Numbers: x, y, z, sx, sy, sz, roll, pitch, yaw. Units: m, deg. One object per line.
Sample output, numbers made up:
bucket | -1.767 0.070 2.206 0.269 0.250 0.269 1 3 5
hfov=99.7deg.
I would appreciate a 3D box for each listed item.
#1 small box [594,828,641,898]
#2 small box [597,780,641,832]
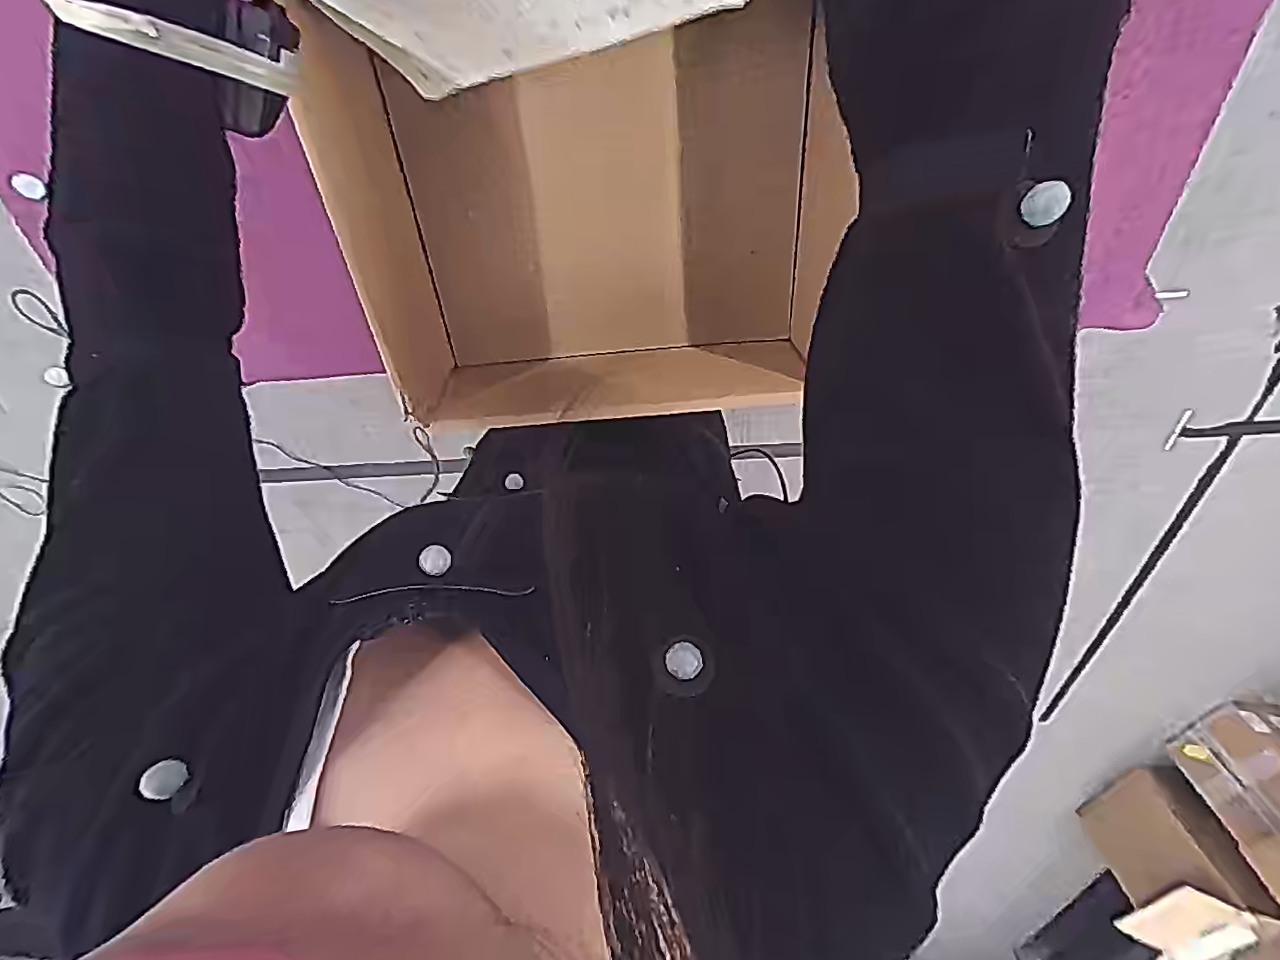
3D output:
small box | -0.082 1.396 1.980 0.168 0.176 0.179 -1 124 0
small box | -0.085 1.294 2.108 0.168 0.176 0.179 1 126 -3
